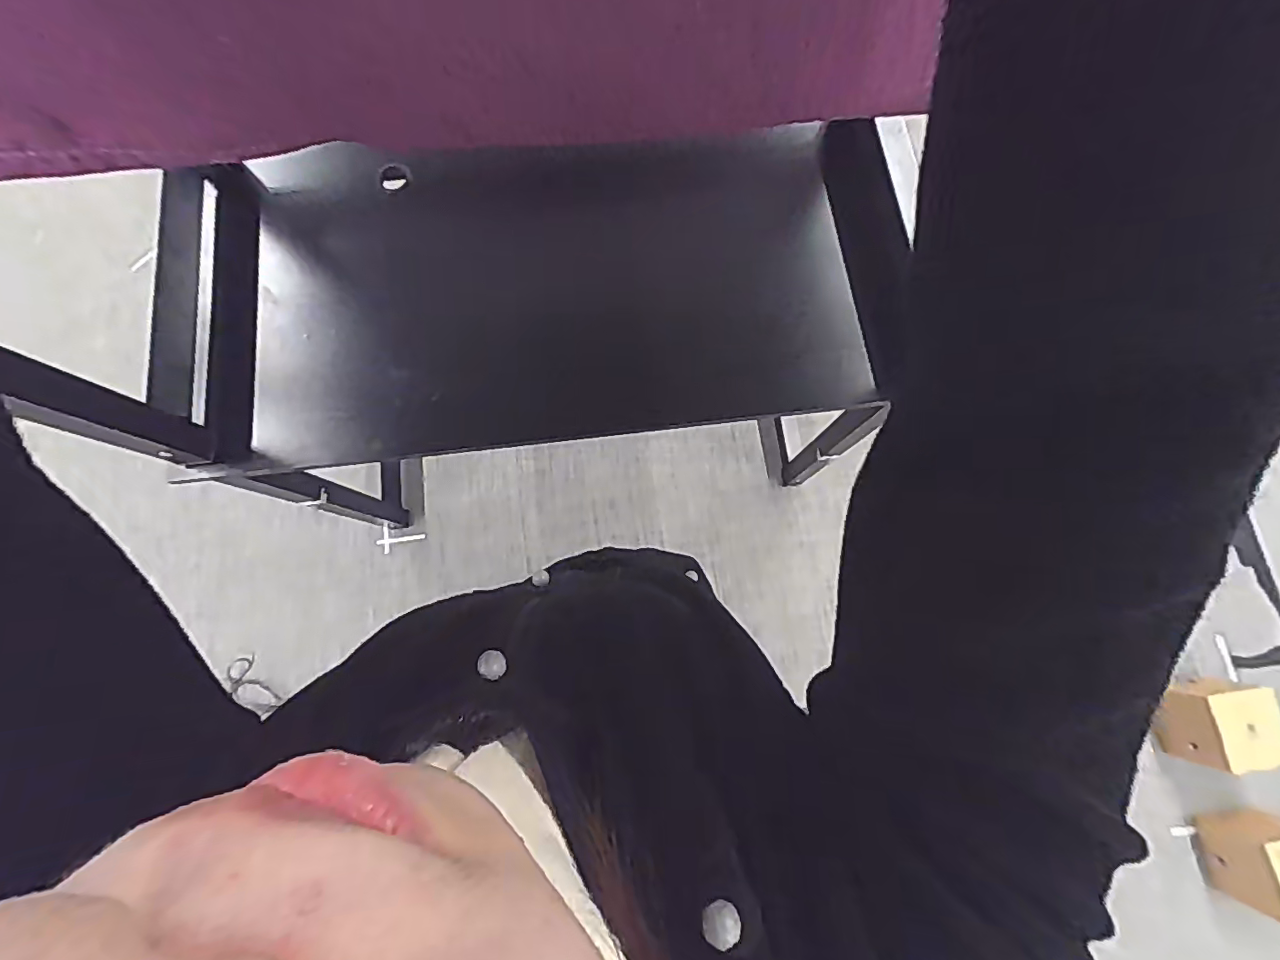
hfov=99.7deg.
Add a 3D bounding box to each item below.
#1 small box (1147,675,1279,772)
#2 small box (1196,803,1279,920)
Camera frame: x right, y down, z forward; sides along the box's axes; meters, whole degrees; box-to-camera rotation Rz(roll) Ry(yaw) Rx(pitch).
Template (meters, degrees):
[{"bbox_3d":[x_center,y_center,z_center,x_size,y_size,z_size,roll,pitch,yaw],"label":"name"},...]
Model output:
[{"bbox_3d":[1.445,0.601,1.355,0.168,0.176,0.179,-8,78,-2],"label":"small box"},{"bbox_3d":[1.509,0.909,1.292,0.168,0.176,0.179,-8,79,-2],"label":"small box"}]
